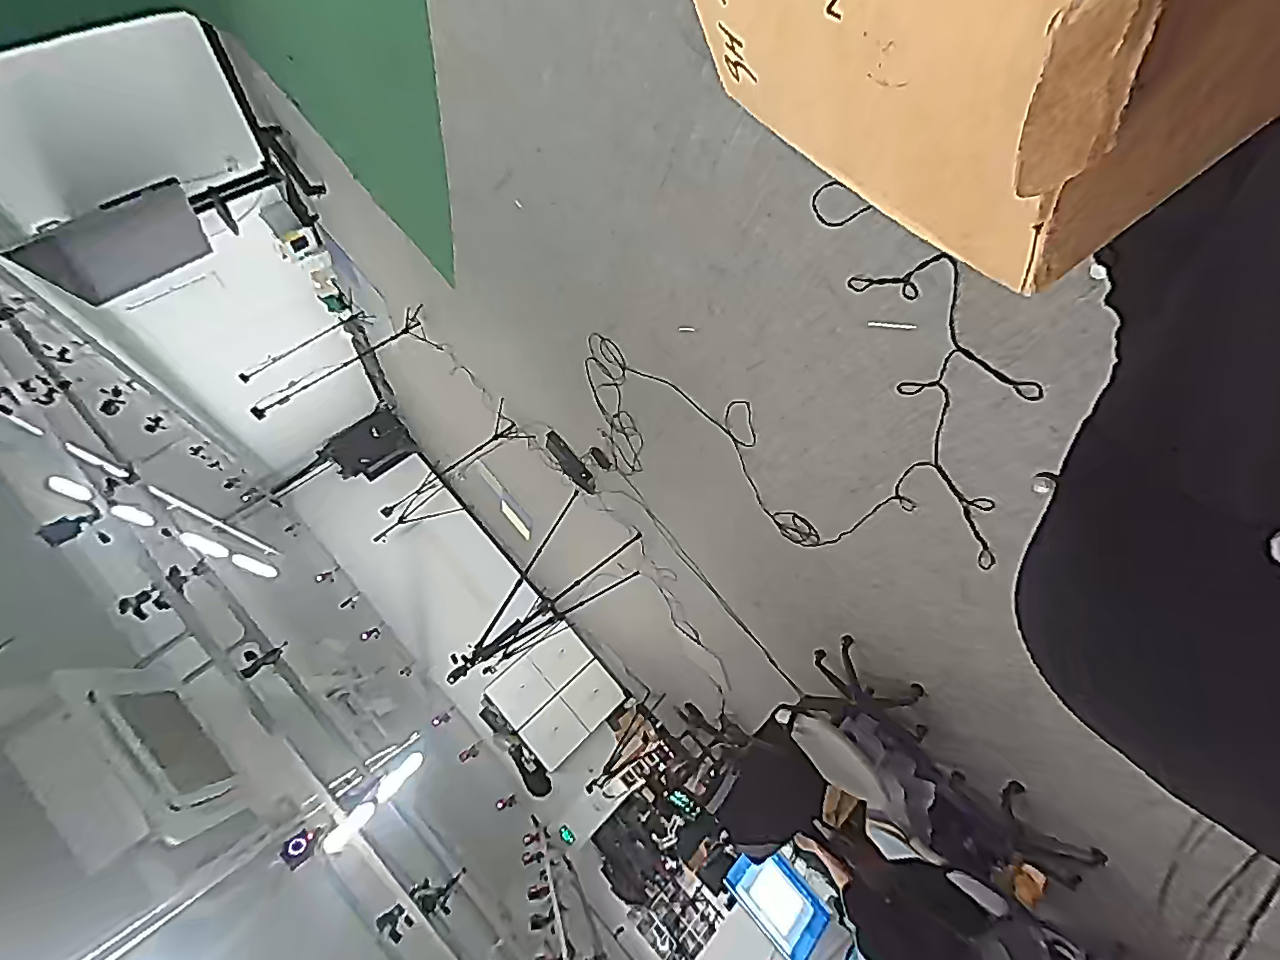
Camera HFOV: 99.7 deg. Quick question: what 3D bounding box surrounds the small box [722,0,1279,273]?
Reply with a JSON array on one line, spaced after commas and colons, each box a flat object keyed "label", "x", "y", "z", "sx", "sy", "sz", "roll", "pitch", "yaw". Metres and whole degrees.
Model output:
[{"label": "small box", "x": 0.117, "y": -0.199, "z": 0.131, "sx": 0.179, "sy": 0.176, "sz": 0.168, "roll": 59, "pitch": -167, "yaw": 29}]
